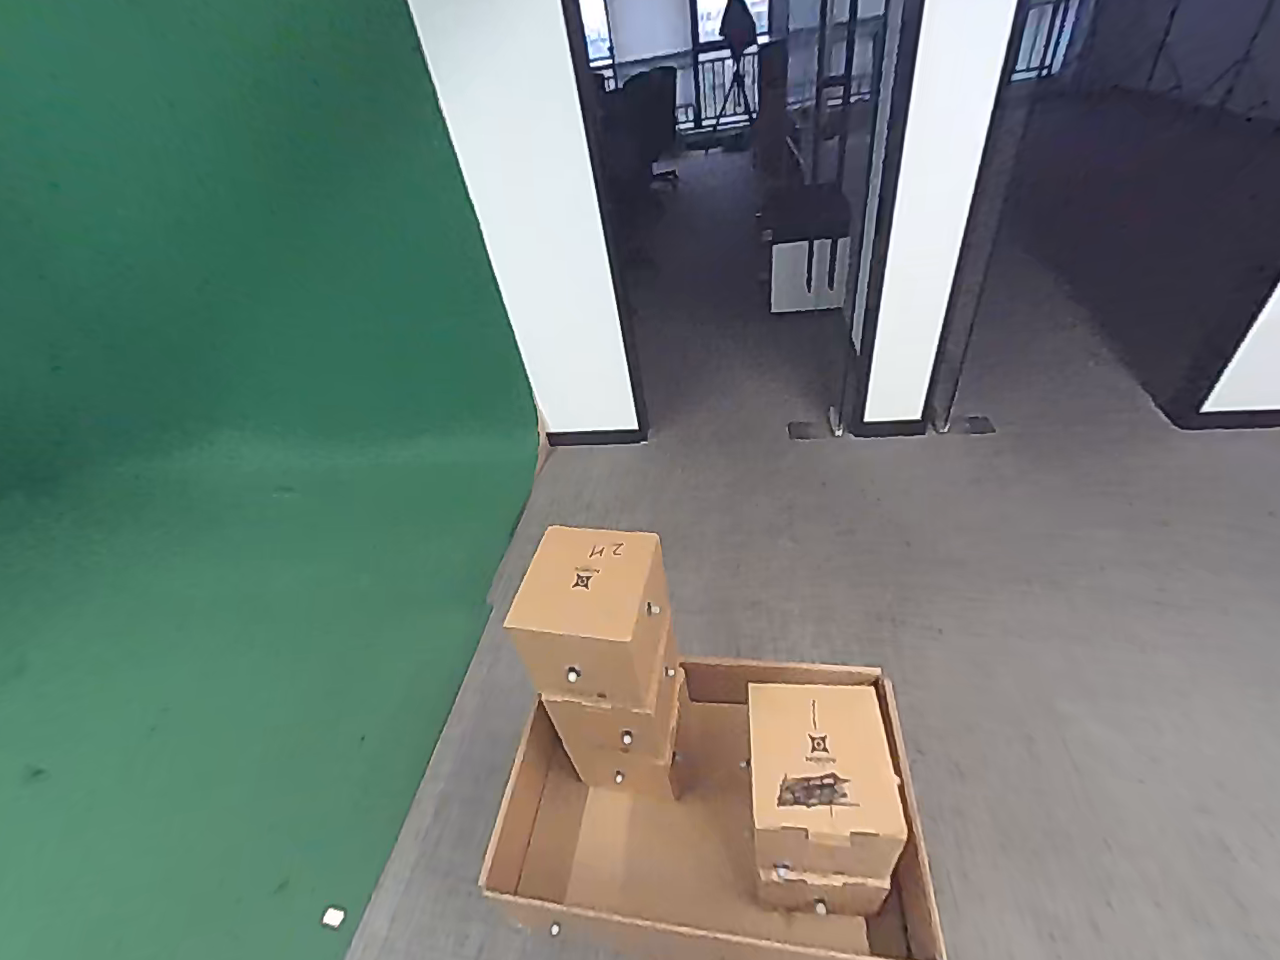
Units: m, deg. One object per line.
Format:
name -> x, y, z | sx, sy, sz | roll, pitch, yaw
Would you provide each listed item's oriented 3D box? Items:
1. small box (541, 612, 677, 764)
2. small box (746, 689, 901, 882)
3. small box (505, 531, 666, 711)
small box -> -0.036, 0.324, 0.860 | 0.168, 0.176, 0.179 | 3, 41, 13
small box -> 0.226, 0.401, 0.710 | 0.168, 0.176, 0.179 | -1, 41, 10
small box -> -0.061, 0.197, 0.759 | 0.168, 0.176, 0.179 | 4, 42, 14
